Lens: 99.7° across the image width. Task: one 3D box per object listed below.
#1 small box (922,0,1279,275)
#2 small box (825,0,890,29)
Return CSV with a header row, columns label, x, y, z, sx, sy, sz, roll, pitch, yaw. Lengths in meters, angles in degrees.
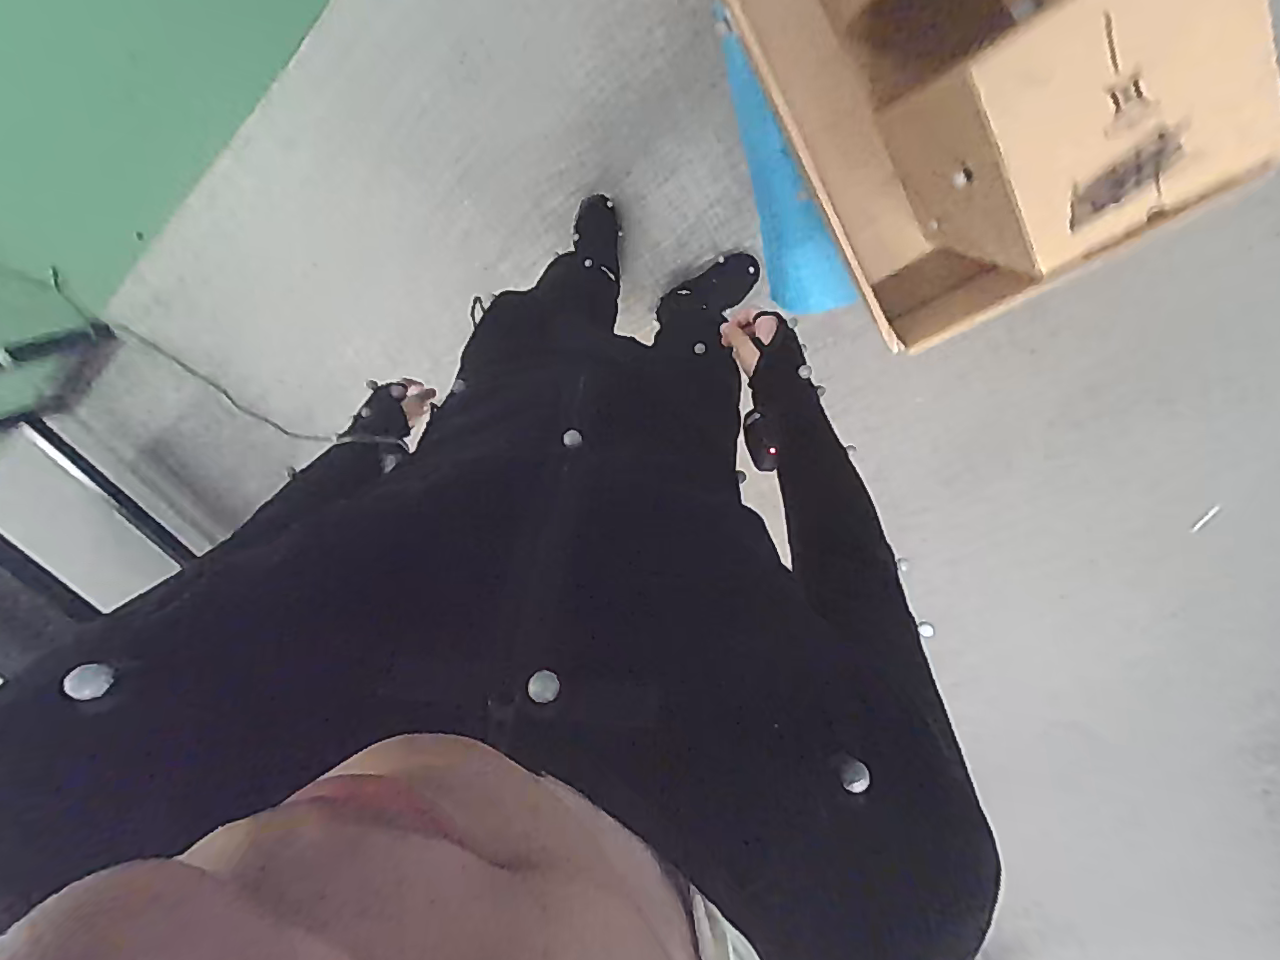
label,x,y,z,sx,sy,sz,roll,pitch,yaw
small box,0.372,-0.307,0.463,0.168,0.176,0.179,-27,110,22
small box,0.258,-0.592,0.518,0.179,0.176,0.168,-26,111,22
